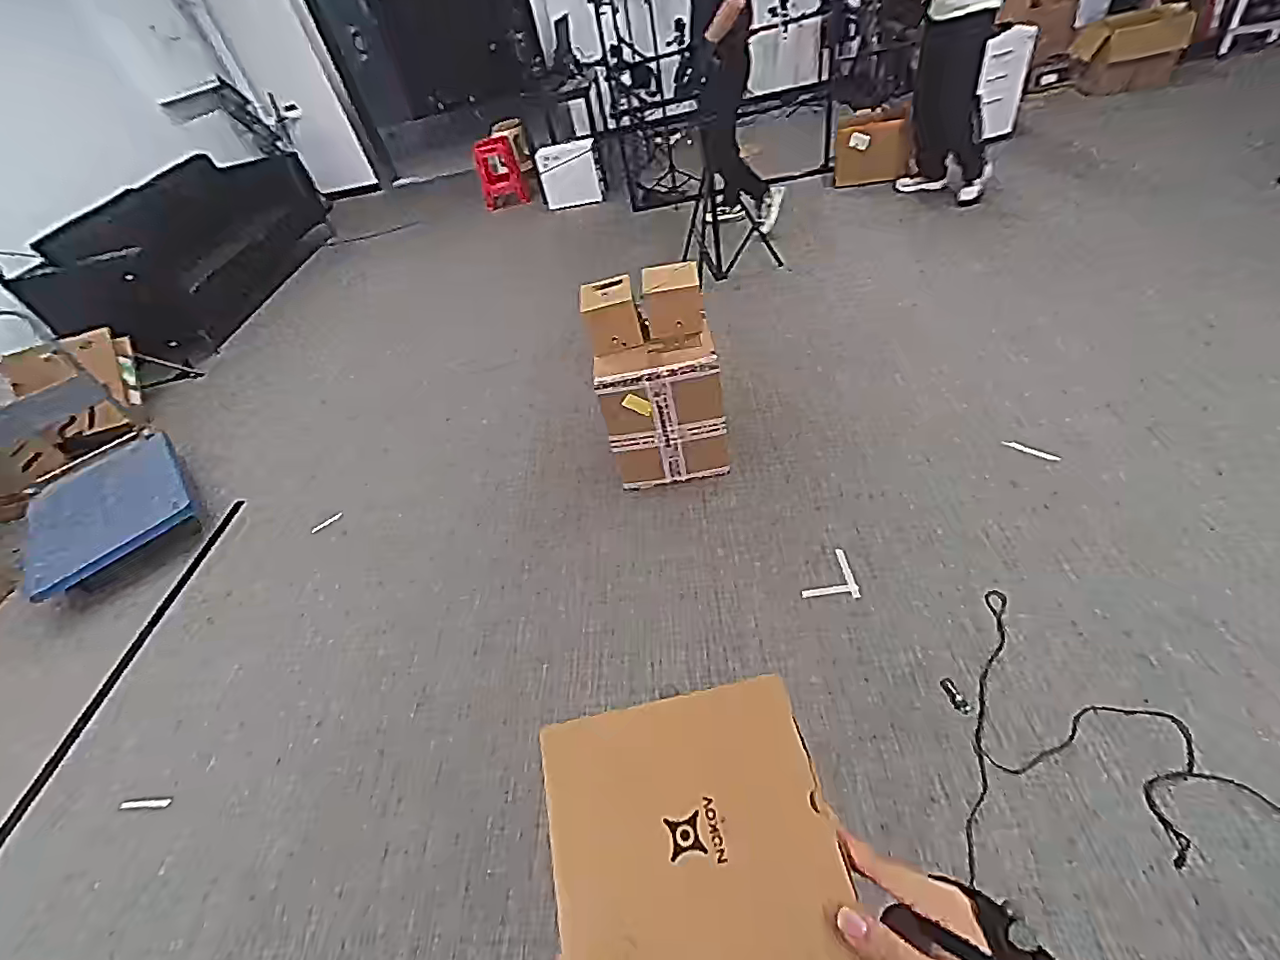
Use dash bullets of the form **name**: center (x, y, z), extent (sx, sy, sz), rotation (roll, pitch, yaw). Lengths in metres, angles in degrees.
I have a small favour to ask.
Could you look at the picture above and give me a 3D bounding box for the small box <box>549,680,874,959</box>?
- **small box**: center (0.039, 0.274, 0.410), extent (0.179, 0.176, 0.168), rotation (-11, 54, -5)
